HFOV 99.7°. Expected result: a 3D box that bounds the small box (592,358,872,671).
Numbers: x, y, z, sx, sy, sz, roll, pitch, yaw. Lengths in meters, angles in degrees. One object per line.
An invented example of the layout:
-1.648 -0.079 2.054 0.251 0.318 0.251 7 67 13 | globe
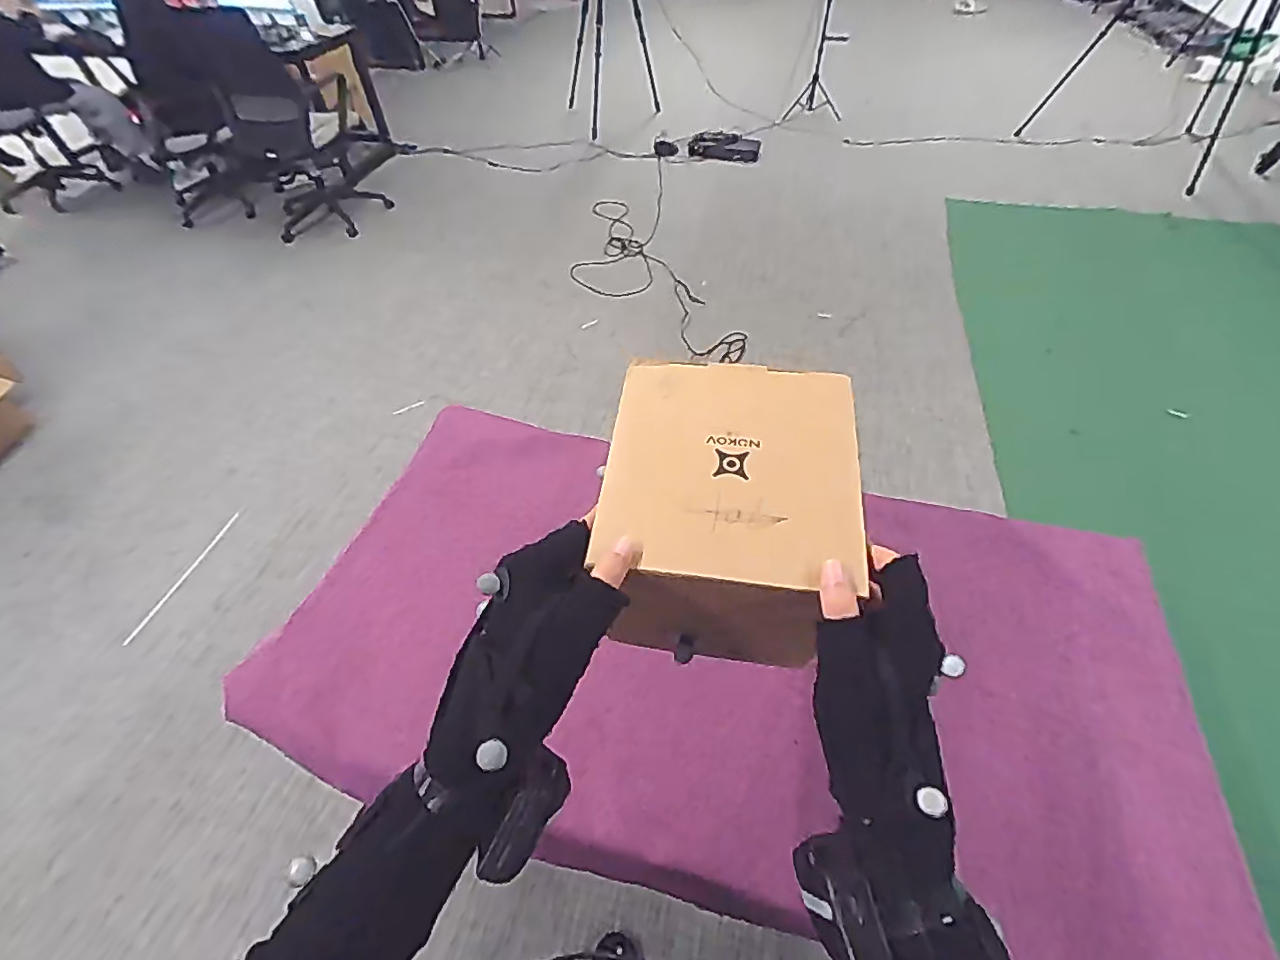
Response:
0.065 0.032 0.423 0.168 0.176 0.179 6 58 7 | small box
